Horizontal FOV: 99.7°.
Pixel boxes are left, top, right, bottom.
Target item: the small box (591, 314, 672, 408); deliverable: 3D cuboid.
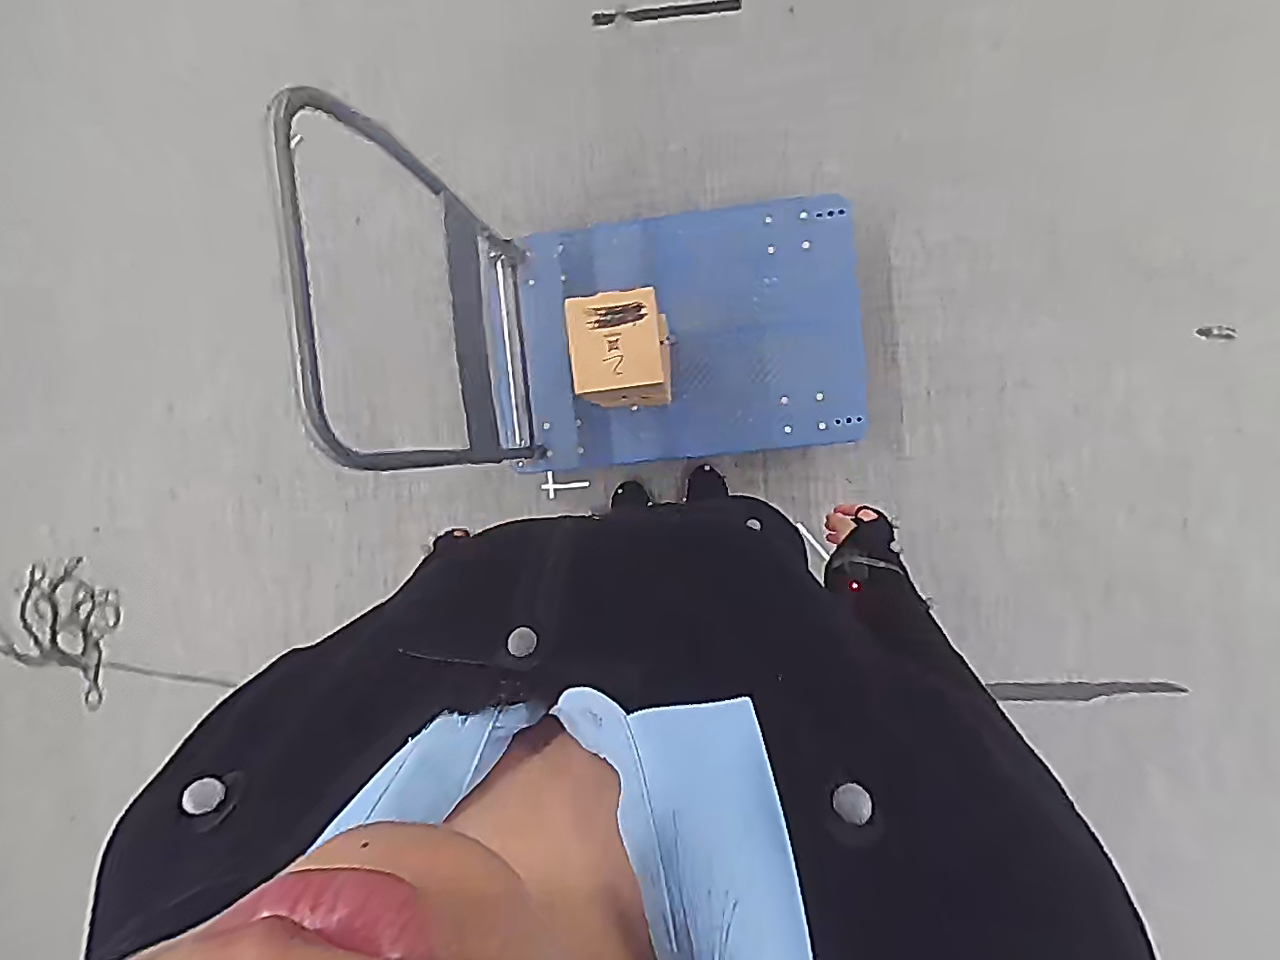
[{"bbox_3d":[-0.015,-0.260,1.216,0.168,0.176,0.179,-2,92,6],"label":"small box"}]
